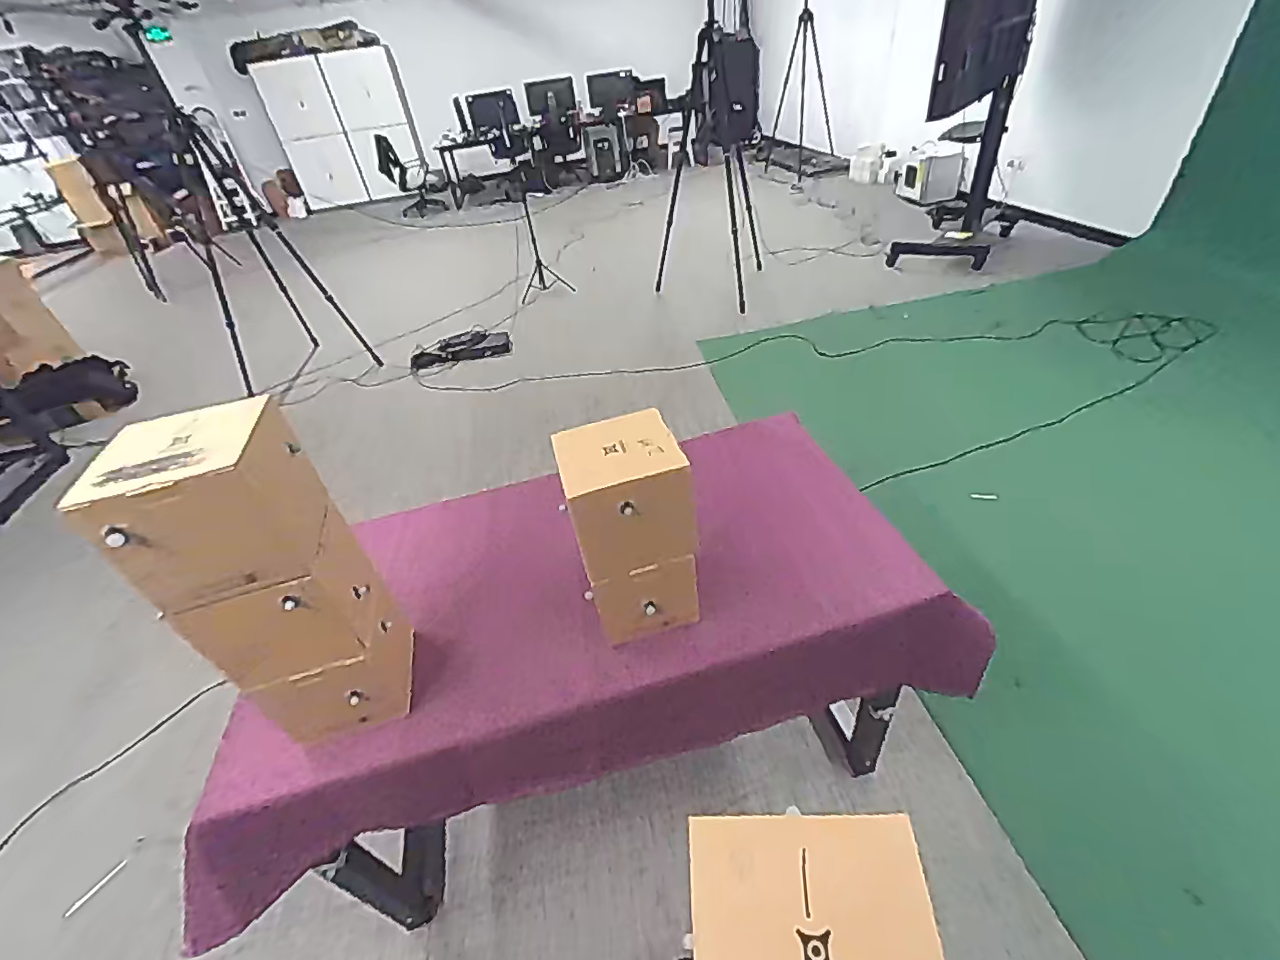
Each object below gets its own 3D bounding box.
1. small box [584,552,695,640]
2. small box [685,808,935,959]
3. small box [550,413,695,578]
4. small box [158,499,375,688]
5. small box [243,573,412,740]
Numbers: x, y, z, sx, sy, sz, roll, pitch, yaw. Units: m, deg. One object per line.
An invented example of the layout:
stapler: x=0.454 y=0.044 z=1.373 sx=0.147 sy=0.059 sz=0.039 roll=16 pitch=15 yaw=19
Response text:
small box: x=-0.009 y=0.152 z=0.932 sx=0.168 sy=0.176 sz=0.179 roll=-14 pitch=40 yaw=-7
small box: x=0.127 y=0.370 z=0.427 sx=0.168 sy=0.176 sz=0.179 roll=-5 pitch=52 yaw=8
small box: x=-0.026 y=0.025 z=0.827 sx=0.179 sy=0.176 sz=0.168 roll=-15 pitch=39 yaw=-7
small box: x=-0.498 y=0.159 z=0.755 sx=0.179 sy=0.176 sz=0.168 roll=-15 pitch=39 yaw=-11
small box: x=-0.475 y=0.284 z=0.857 sx=0.168 sy=0.176 sz=0.179 roll=-14 pitch=38 yaw=-9
